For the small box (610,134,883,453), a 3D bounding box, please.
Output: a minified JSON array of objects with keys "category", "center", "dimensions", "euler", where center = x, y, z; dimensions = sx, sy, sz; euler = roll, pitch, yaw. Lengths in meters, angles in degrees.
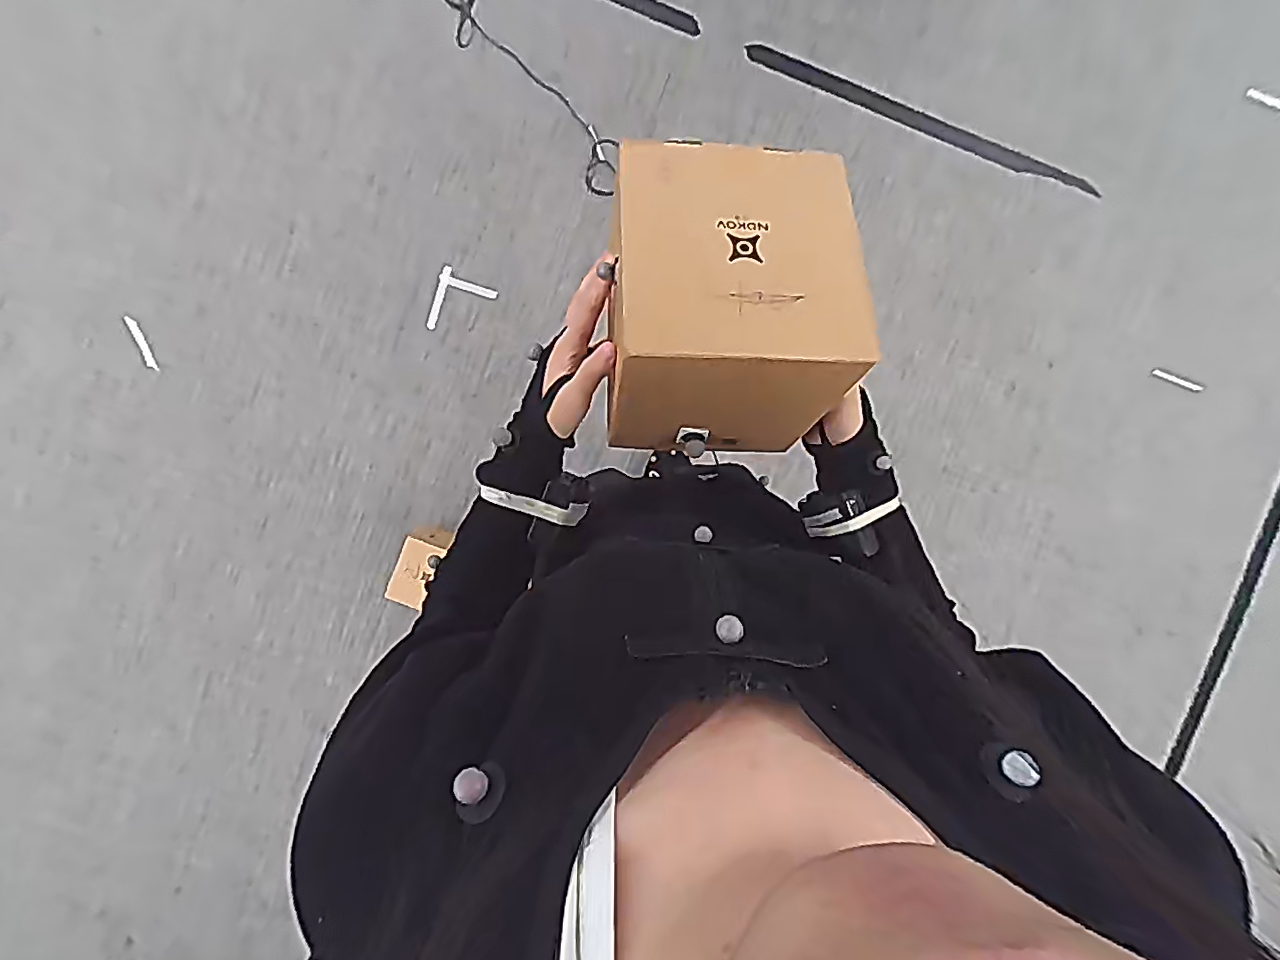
[{"category":"small box","center":[0.063,-0.133,0.435],"dimensions":[0.168,0.176,0.179],"euler":[0,73,-6]}]
